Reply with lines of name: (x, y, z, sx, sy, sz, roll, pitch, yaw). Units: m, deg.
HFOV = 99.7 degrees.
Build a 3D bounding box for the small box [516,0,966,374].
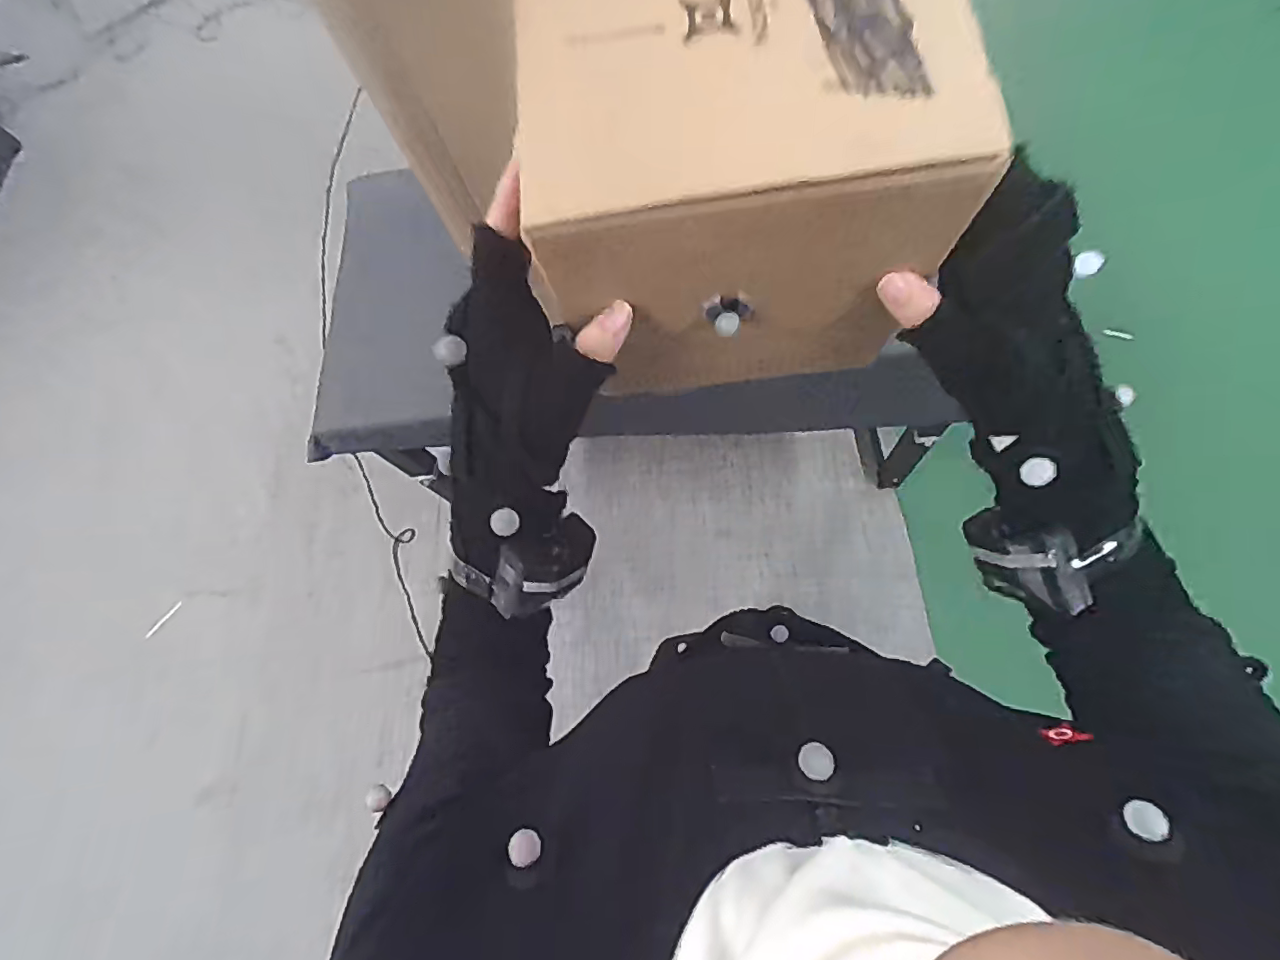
small box: (0.041, -0.173, 0.304, 0.179, 0.176, 0.168, -5, 77, 6)
